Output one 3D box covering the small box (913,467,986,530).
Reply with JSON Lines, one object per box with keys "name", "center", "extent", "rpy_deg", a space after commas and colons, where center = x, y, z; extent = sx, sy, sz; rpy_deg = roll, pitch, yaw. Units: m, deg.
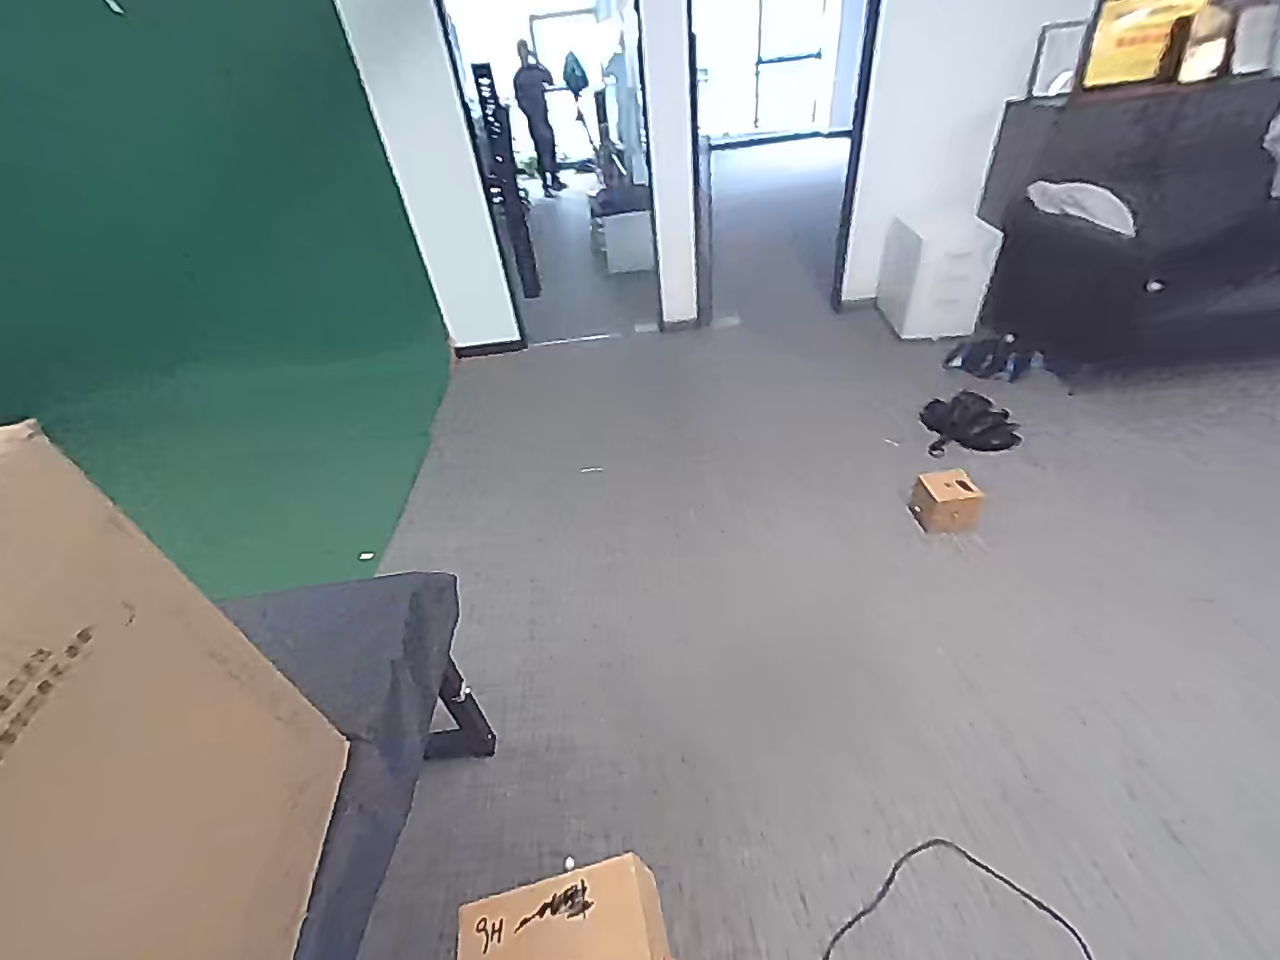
{"name": "small box", "center": [1.186, 0.071, 2.084], "extent": [0.179, 0.176, 0.168], "rpy_deg": [-8, 39, 2]}
